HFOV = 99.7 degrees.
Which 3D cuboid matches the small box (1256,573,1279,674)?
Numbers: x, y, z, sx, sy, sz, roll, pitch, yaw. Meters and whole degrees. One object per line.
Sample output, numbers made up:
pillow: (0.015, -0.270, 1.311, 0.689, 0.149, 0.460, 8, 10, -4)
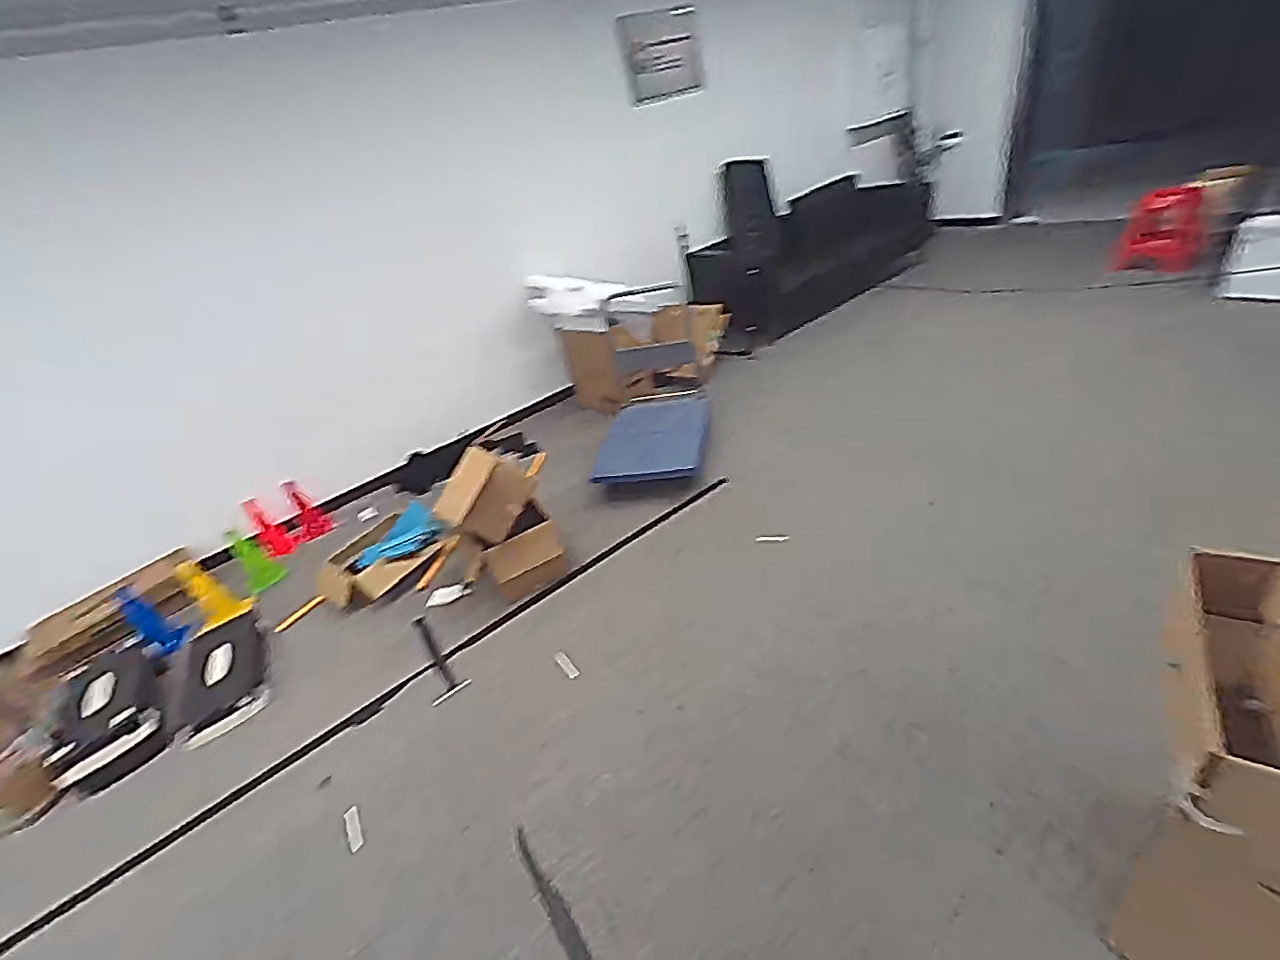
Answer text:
small box: (0.870, 0.165, 0.610, 0.179, 0.176, 0.168, 5, 37, 31)
